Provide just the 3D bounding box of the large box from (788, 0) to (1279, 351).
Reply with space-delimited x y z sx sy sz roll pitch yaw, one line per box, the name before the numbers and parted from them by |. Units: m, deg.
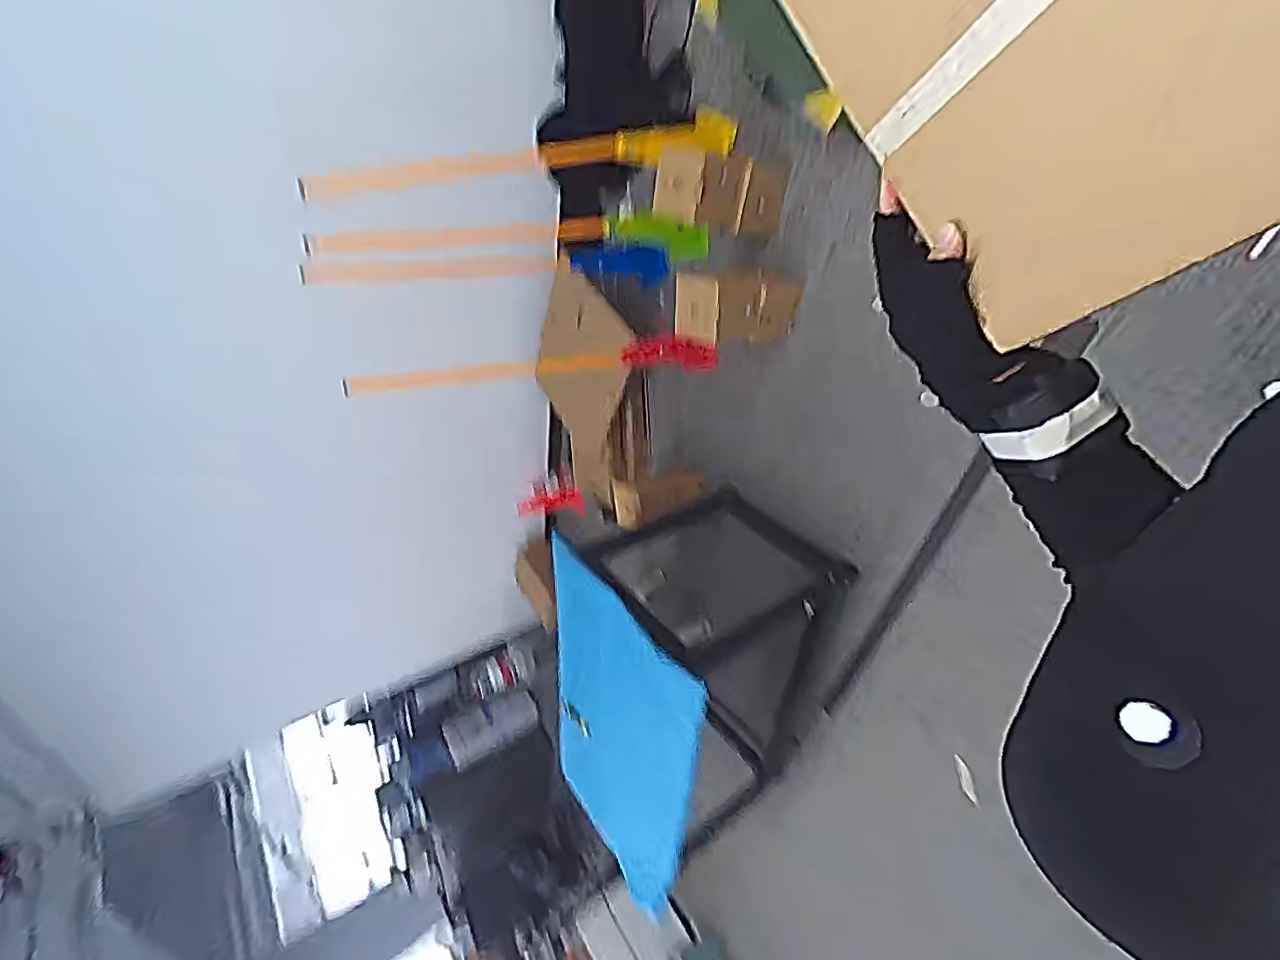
large box | 0.361 -0.333 0.266 0.320 0.320 0.408 61 149 2
